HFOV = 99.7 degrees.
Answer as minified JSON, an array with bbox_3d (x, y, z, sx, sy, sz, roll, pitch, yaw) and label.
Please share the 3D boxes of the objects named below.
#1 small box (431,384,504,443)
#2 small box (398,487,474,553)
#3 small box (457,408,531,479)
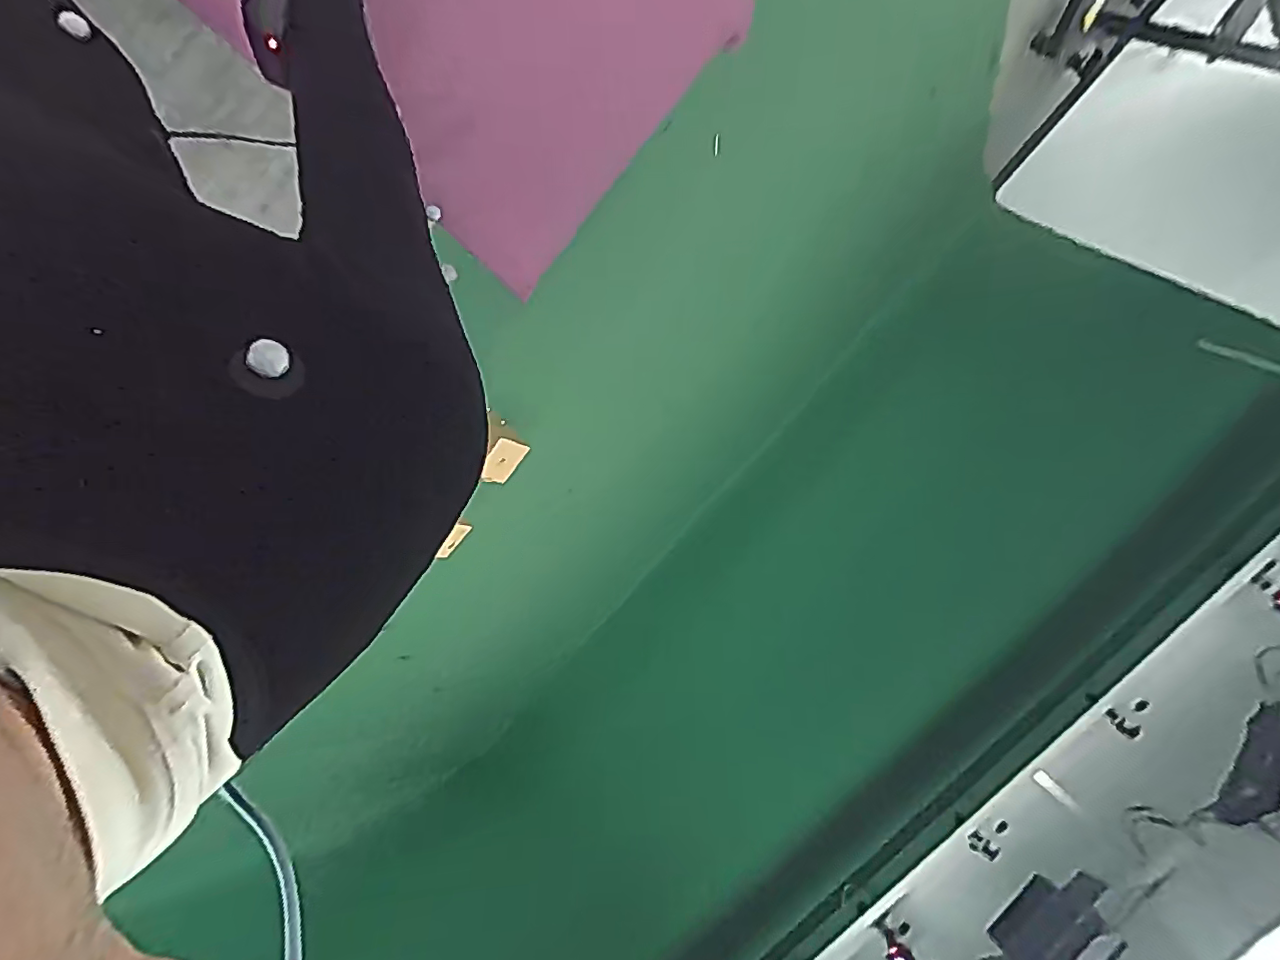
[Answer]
[{"bbox_3d":[-0.650,-0.238,2.039,0.168,0.176,0.179,-51,153,10],"label":"small box"},{"bbox_3d":[-0.772,0.149,2.038,0.168,0.176,0.179,-48,151,7],"label":"small box"},{"bbox_3d":[-0.541,-0.133,1.979,0.179,0.176,0.168,-51,153,10],"label":"small box"}]
